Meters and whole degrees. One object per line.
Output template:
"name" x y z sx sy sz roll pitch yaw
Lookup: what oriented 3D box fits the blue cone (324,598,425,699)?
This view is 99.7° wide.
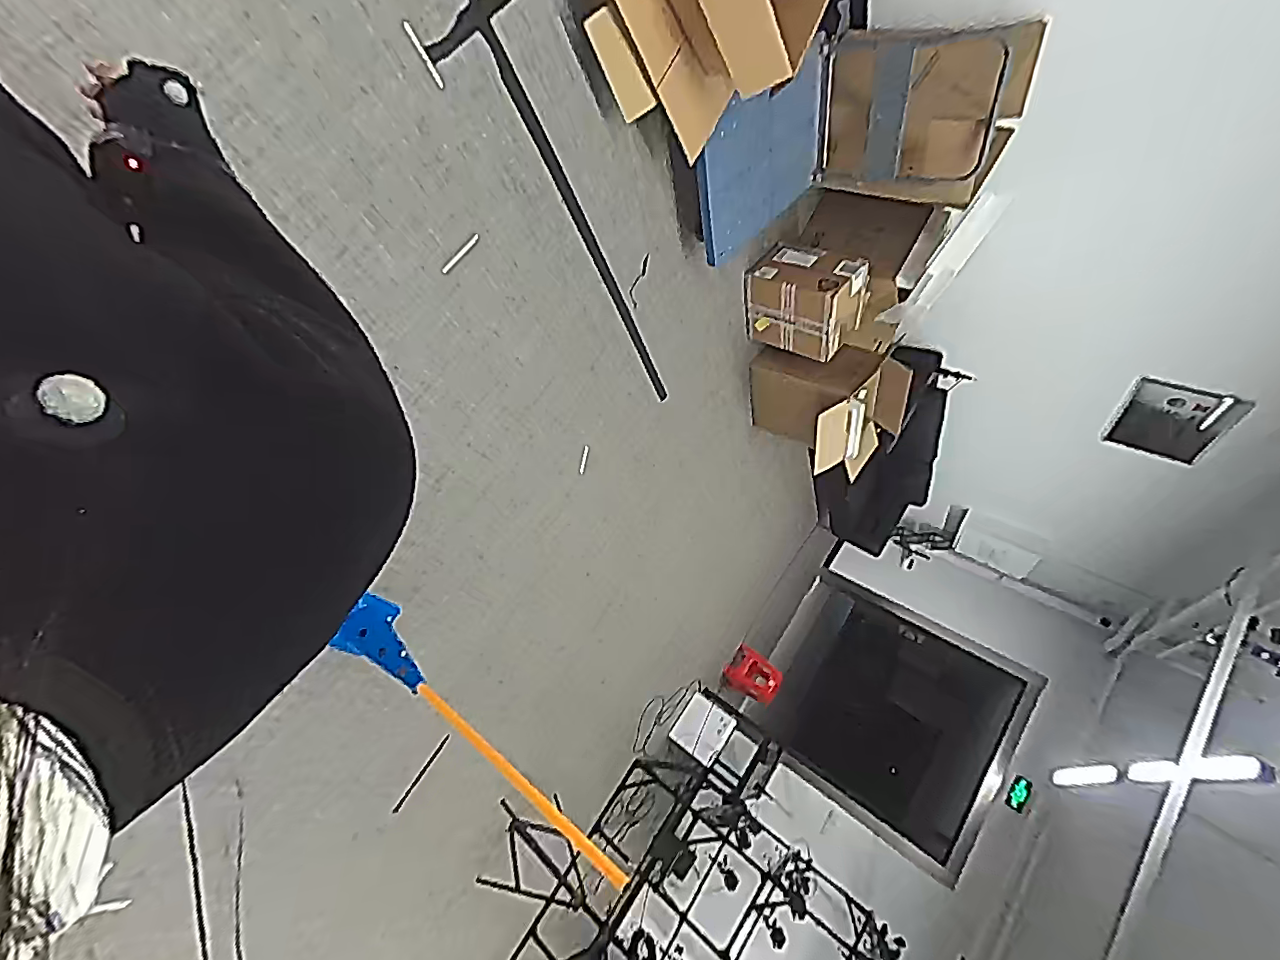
"blue cone" -0.785 0.548 1.692 0.192 0.380 0.193 -52 146 -16
